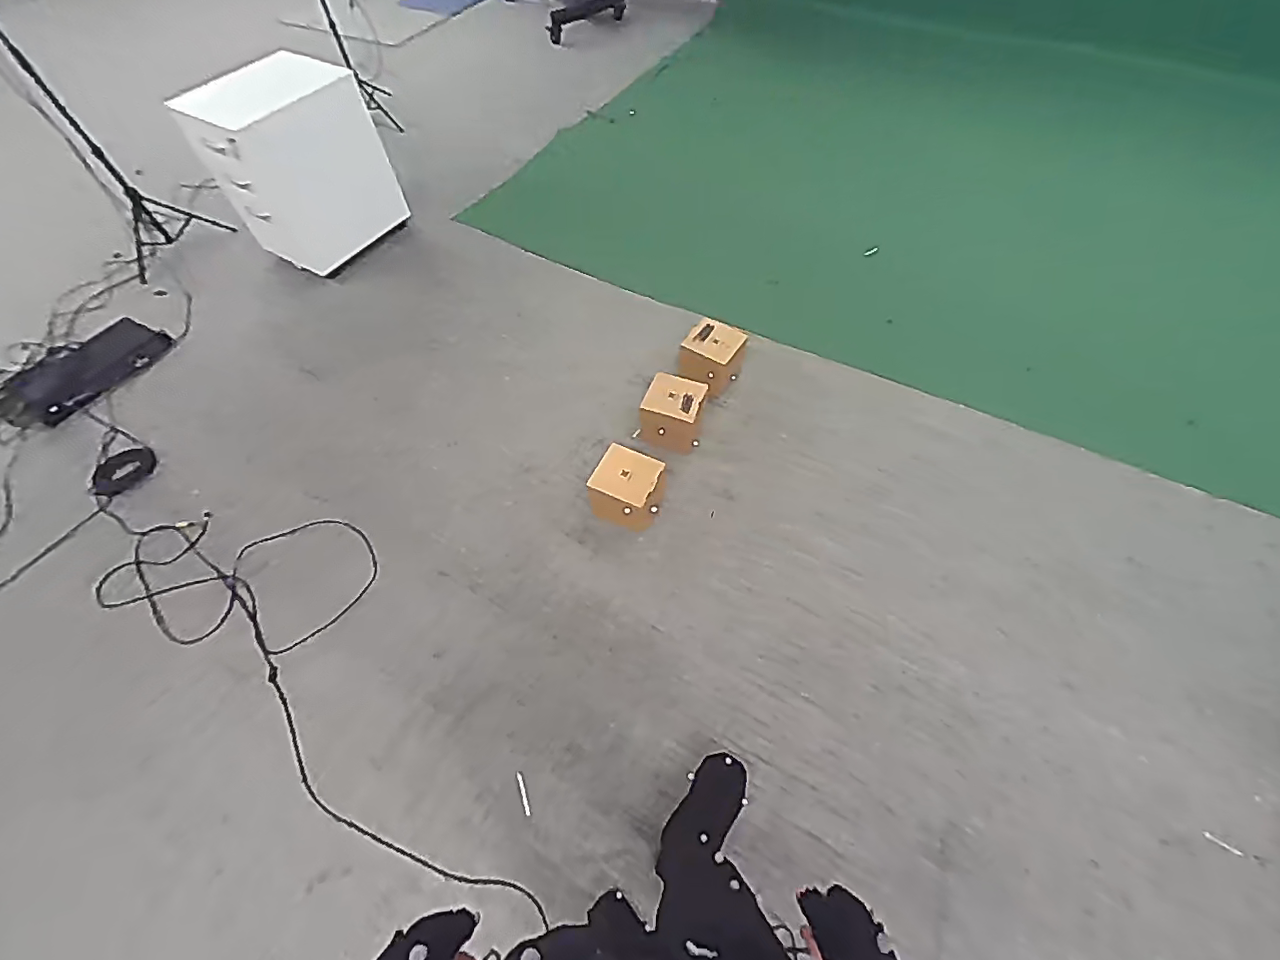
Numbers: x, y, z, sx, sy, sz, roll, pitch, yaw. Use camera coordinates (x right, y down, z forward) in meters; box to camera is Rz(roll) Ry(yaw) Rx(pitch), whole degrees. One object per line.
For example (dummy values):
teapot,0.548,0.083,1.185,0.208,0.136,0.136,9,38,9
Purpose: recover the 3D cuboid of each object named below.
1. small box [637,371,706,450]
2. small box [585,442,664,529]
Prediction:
small box,0.101,-0.220,1.744,0.179,0.176,0.168,17,59,13
small box,-0.041,0.022,1.593,0.179,0.176,0.168,21,61,14
